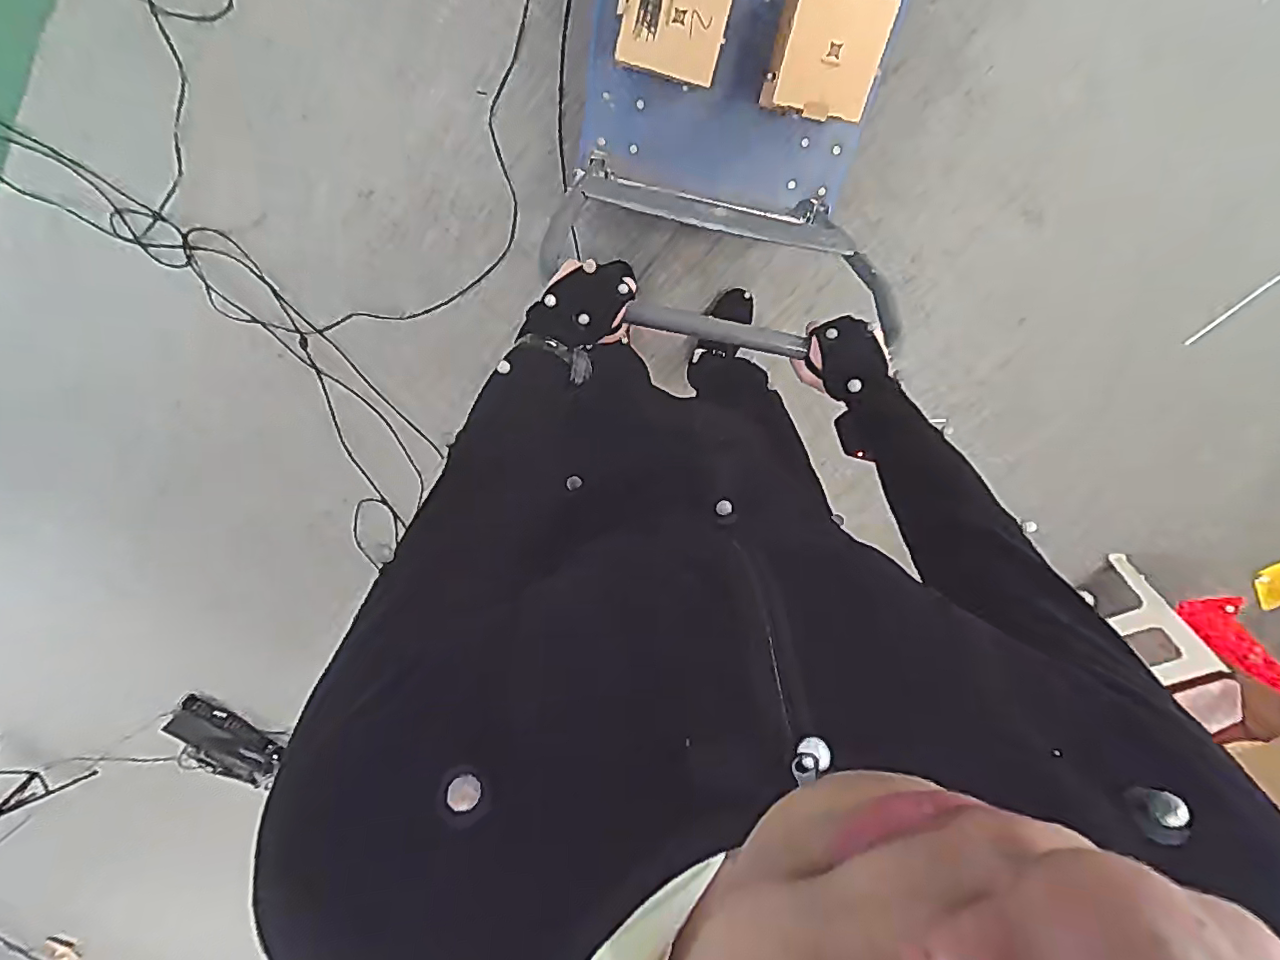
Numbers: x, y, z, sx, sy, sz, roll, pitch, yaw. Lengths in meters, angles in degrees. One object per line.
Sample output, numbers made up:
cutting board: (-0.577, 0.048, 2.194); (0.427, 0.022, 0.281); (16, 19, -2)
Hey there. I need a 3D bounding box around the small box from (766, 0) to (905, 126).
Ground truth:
small box: (0.339, -0.767, 0.982); (0.168, 0.176, 0.179); (10, 126, -4)
